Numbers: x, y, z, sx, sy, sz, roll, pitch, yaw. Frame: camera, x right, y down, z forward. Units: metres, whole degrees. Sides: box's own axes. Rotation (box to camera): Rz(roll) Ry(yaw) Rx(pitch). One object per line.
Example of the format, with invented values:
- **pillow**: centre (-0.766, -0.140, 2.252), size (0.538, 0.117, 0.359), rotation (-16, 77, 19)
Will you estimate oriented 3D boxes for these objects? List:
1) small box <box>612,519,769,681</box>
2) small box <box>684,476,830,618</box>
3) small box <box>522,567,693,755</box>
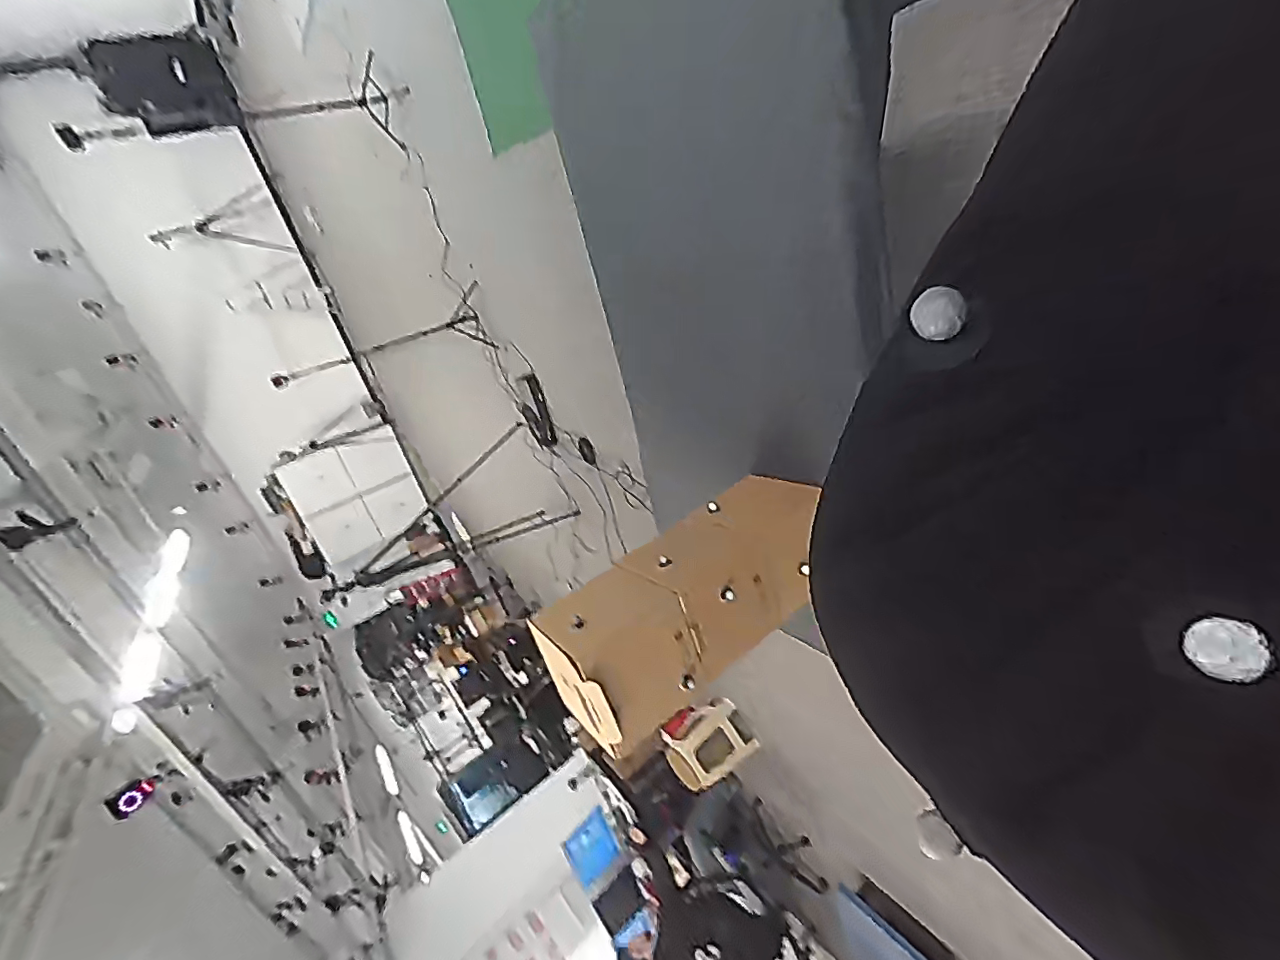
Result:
- **small box**: centre (0.087, 0.179, 0.870), size (0.179, 0.176, 0.168), rotation (13, 126, 56)
- **small box**: centre (0.211, 0.106, 0.946), size (0.179, 0.176, 0.168), rotation (14, 128, 55)
- **small box**: centre (-0.041, 0.249, 0.795), size (0.179, 0.176, 0.168), rotation (11, 124, 57)
